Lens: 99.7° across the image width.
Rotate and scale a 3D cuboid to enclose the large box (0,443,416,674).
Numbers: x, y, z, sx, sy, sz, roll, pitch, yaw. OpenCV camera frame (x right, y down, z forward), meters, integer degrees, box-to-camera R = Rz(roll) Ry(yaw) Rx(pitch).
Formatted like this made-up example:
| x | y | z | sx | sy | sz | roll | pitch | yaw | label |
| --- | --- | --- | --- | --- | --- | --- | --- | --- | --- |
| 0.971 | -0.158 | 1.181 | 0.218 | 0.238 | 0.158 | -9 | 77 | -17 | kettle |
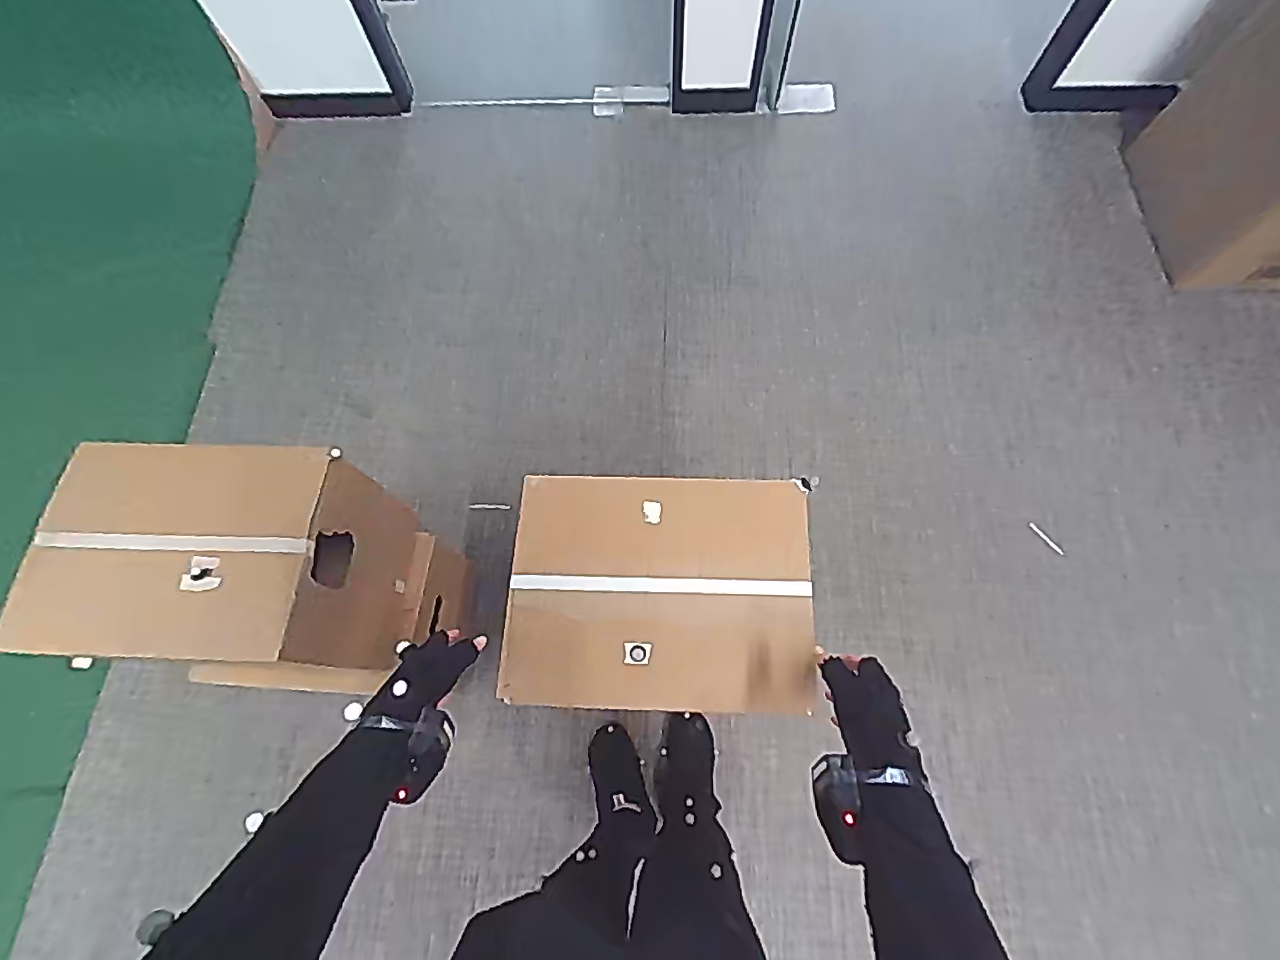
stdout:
| x | y | z | sx | sy | sz | roll | pitch | yaw | label |
| --- | --- | --- | --- | --- | --- | --- | --- | --- | --- |
| -0.659 | 0.148 | 0.912 | 0.408 | 0.320 | 0.320 | 2 | 67 | 2 | large box |
